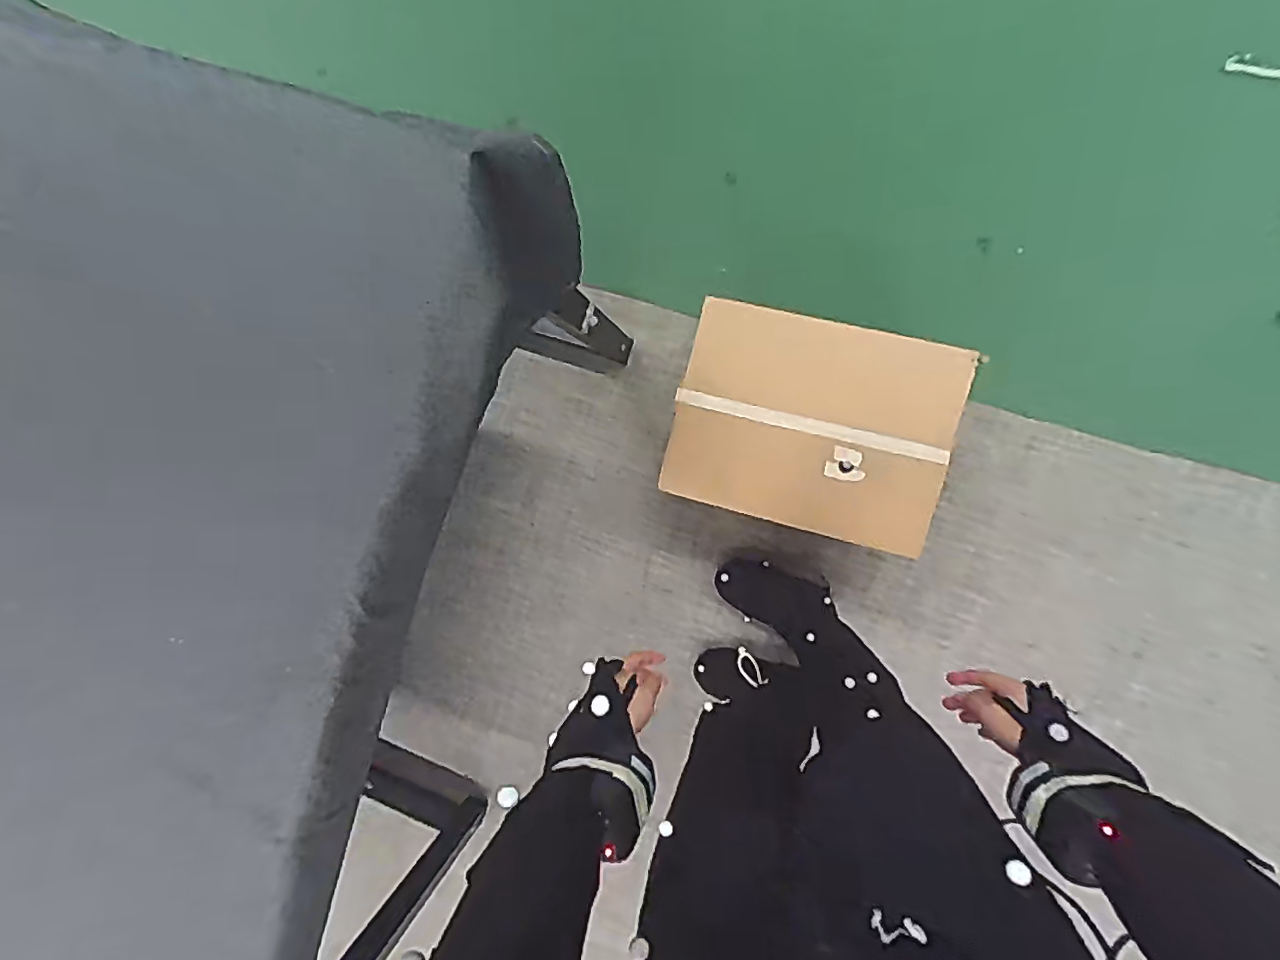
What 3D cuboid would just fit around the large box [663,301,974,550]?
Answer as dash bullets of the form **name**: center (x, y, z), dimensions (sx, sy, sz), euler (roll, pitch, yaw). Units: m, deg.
- **large box**: center (0.282, -0.093, 0.967), dimensions (0.408, 0.320, 0.320), euler (15, 95, 9)
